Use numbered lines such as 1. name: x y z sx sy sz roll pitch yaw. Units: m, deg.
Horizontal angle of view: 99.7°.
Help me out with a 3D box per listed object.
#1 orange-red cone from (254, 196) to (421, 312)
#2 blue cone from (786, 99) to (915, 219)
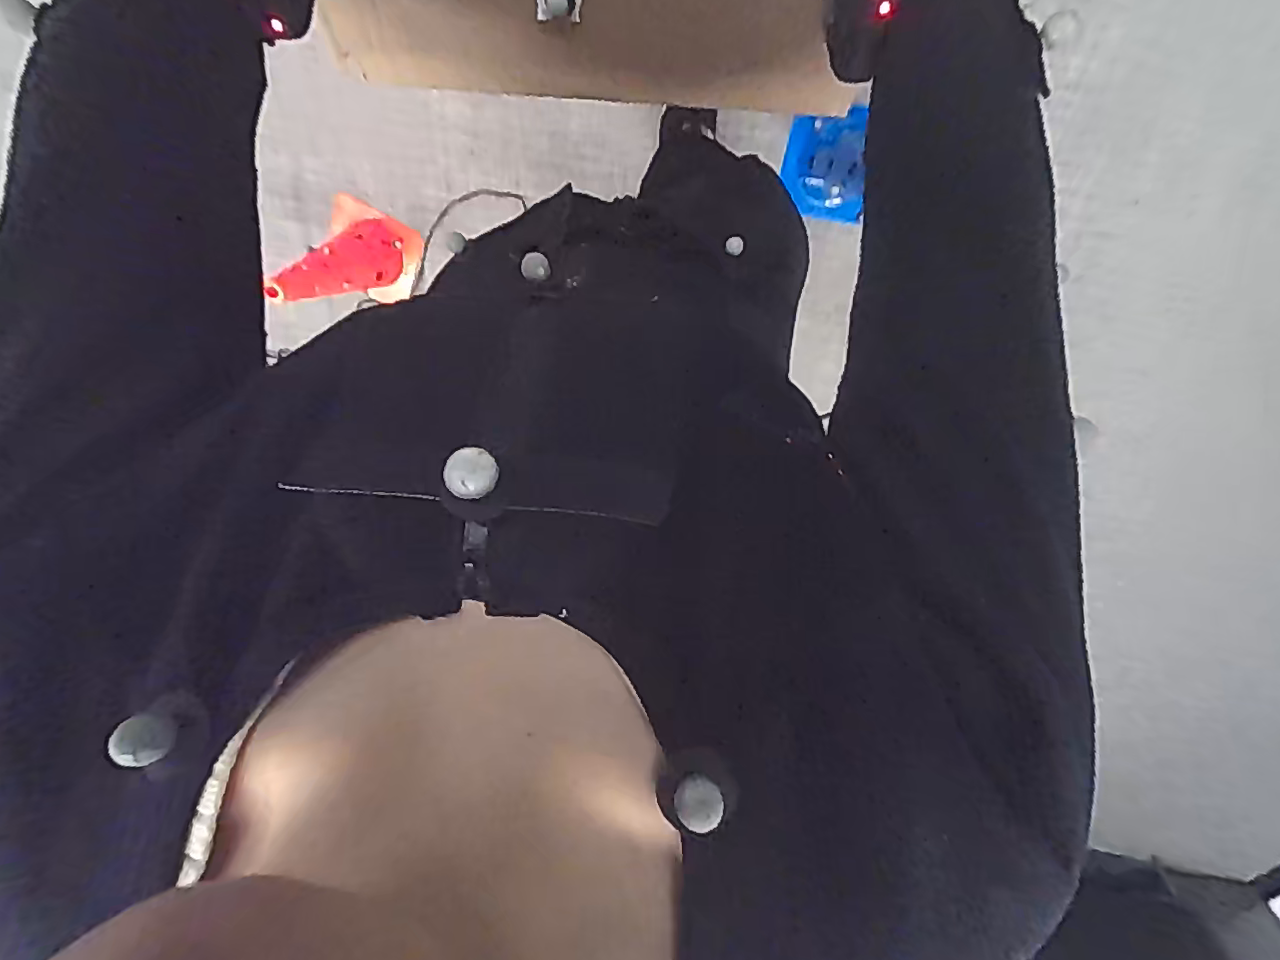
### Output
1. orange-red cone: -0.634 -0.422 1.086 0.199 0.360 0.198 28 120 -9
2. blue cone: 0.373 -0.530 0.907 0.192 0.380 0.193 11 123 0
